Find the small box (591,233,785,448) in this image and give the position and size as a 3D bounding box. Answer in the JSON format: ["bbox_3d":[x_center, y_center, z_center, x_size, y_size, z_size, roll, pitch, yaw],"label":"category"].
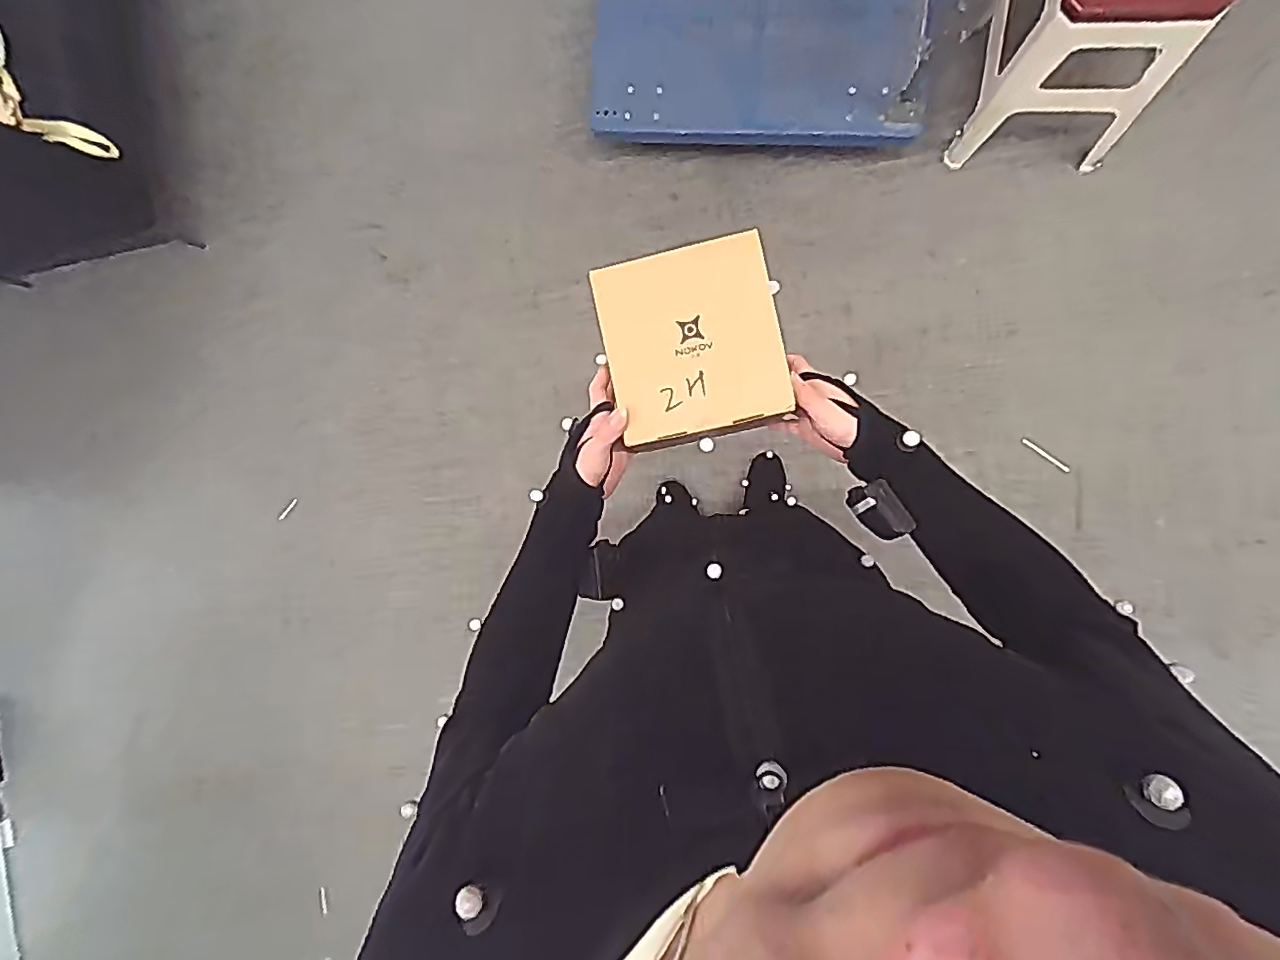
[{"bbox_3d":[0.050,-0.138,0.600,0.168,0.176,0.179,-10,90,5],"label":"small box"}]
